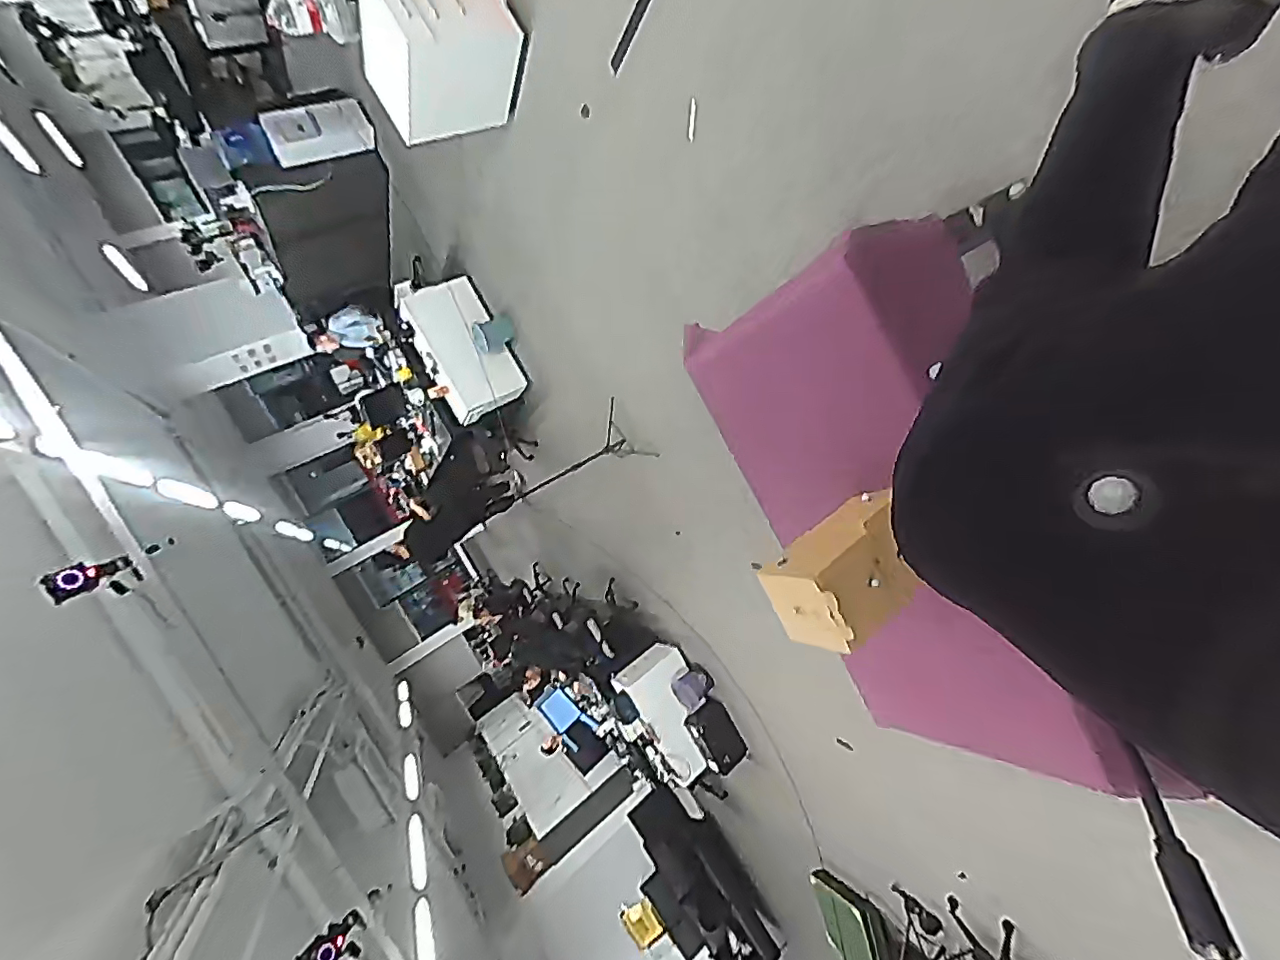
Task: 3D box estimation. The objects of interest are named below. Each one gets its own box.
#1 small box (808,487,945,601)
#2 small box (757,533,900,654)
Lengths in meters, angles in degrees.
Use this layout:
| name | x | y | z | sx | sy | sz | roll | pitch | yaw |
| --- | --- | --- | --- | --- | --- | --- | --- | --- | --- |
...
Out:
| name | x | y | z | sx | sy | sz | roll | pitch | yaw |
| --- | --- | --- | --- | --- | --- | --- | --- | --- | --- |
| small box | 0.504 | 0.138 | 1.148 | 0.179 | 0.176 | 0.168 | 60 | 155 | -1 |
| small box | 0.375 | 0.217 | 1.082 | 0.168 | 0.176 | 0.179 | 61 | 155 | -7 |
